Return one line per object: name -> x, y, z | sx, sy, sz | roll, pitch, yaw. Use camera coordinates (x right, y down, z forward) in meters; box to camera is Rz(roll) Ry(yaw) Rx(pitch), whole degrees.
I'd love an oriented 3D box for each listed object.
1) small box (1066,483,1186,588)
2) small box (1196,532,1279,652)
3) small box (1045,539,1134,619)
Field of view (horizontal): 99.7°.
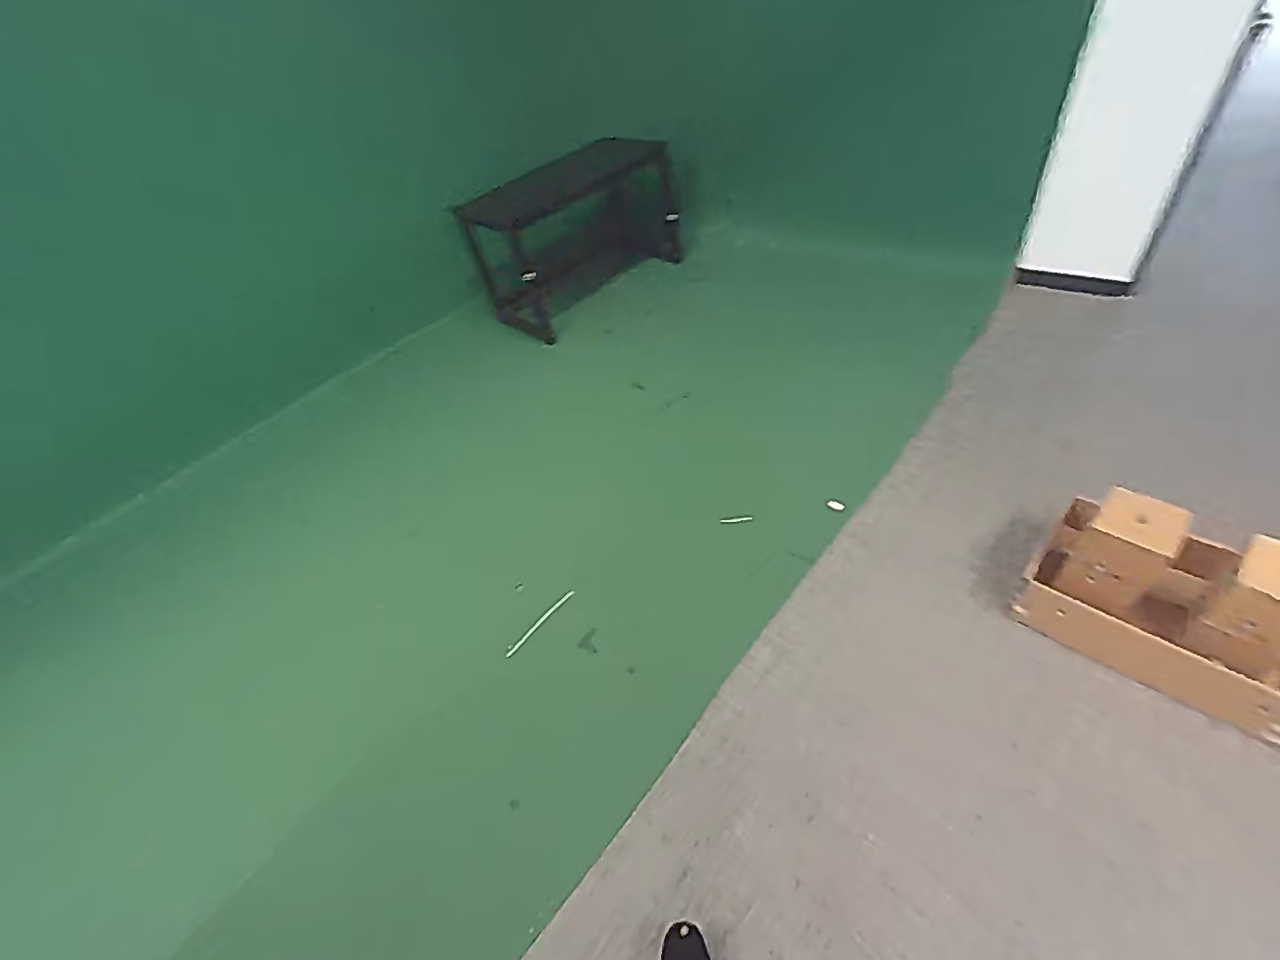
small box -> 1.267, 0.148, 1.422 | 0.168, 0.176, 0.179 | 31, 61, 35
small box -> 1.464, 0.263, 1.264 | 0.168, 0.176, 0.179 | 31, 61, 36
small box -> 1.297, 0.257, 1.539 | 0.179, 0.176, 0.168 | -40, 50, -24
